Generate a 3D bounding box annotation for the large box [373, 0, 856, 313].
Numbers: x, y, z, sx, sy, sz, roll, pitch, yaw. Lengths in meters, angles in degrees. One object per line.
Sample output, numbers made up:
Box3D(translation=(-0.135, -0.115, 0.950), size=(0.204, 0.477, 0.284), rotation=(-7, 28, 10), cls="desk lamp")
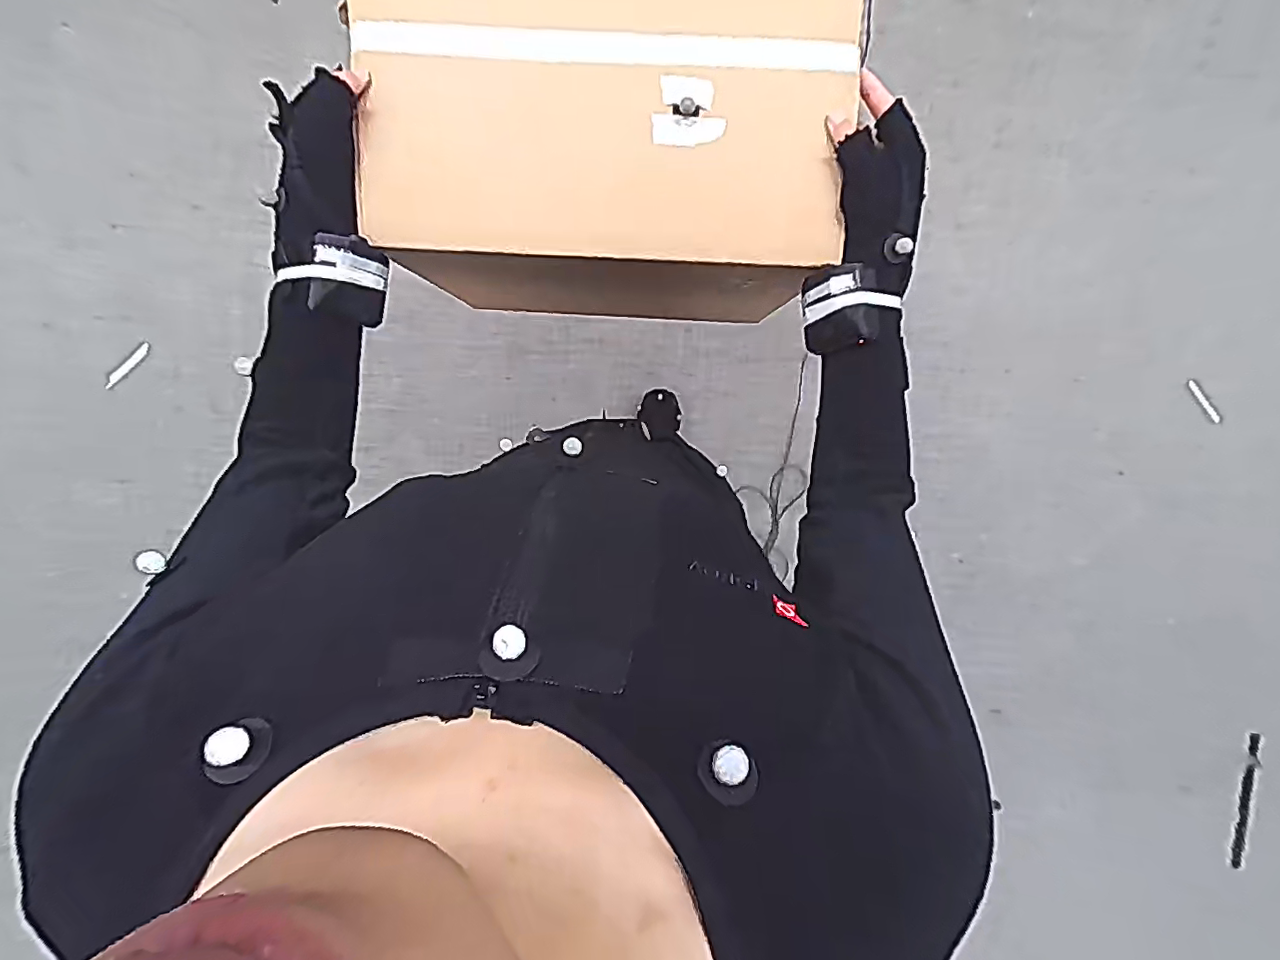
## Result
Box3D(translation=(-0.025, -0.370, 0.597), size=(0.408, 0.320, 0.320), rotation=(2, 99, -1), cls="large box")
